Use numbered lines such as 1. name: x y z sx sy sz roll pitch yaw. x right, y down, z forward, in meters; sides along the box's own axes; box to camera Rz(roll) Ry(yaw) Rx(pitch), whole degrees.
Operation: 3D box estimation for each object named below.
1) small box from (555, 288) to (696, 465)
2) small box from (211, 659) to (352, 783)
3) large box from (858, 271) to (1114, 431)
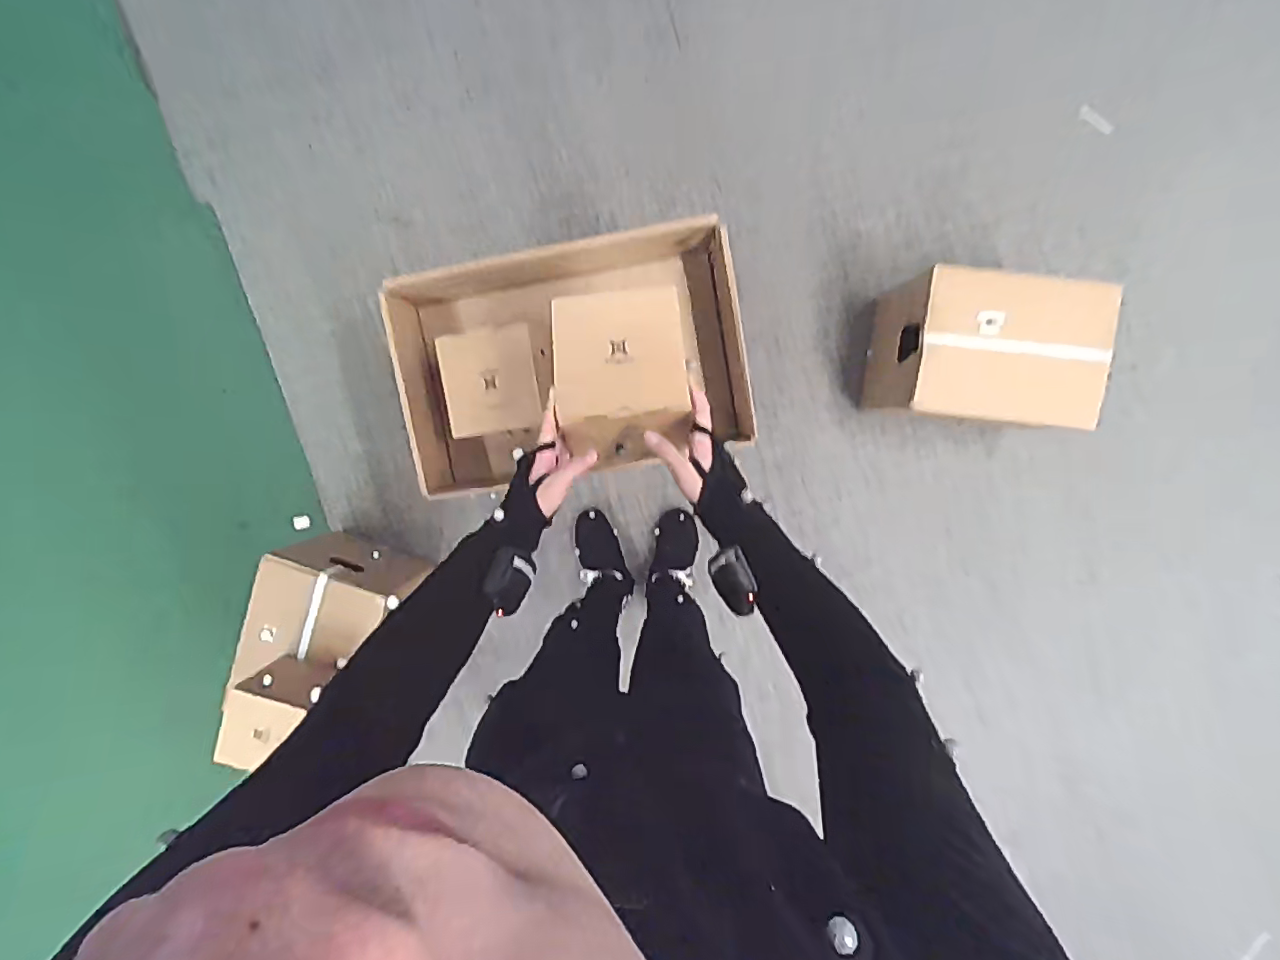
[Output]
1. small box: -0.020 -0.134 0.740 0.168 0.176 0.179 -6 74 0
2. small box: -0.773 0.515 1.181 0.179 0.176 0.168 17 96 -2
3. large box: 0.805 -0.294 1.317 0.408 0.320 0.320 7 95 2
